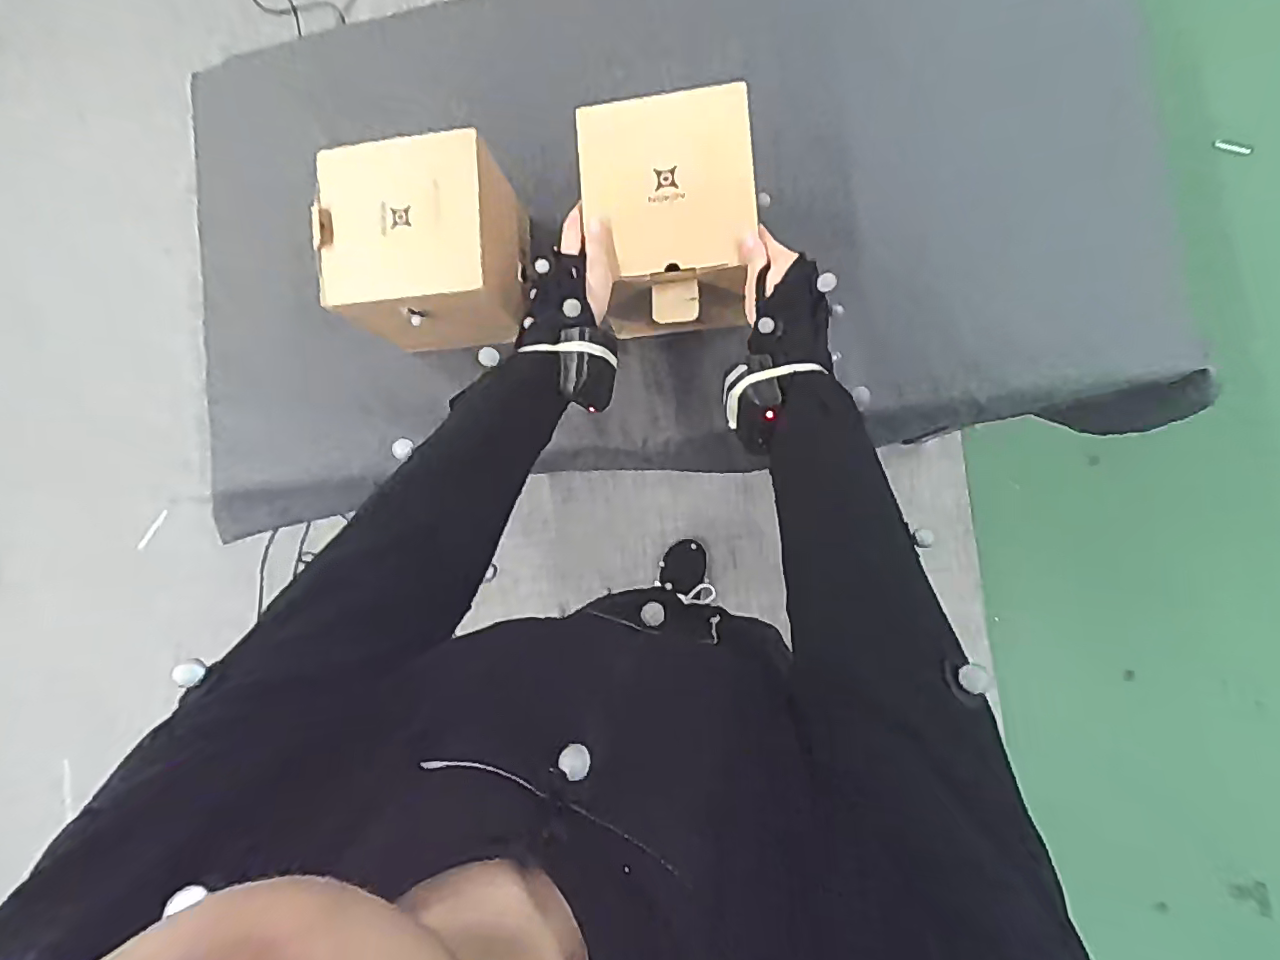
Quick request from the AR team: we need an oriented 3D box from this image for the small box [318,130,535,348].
[{"bbox_3d":[-0.232,-0.257,0.620,0.179,0.176,0.168,-3,87,6],"label":"small box"}]
